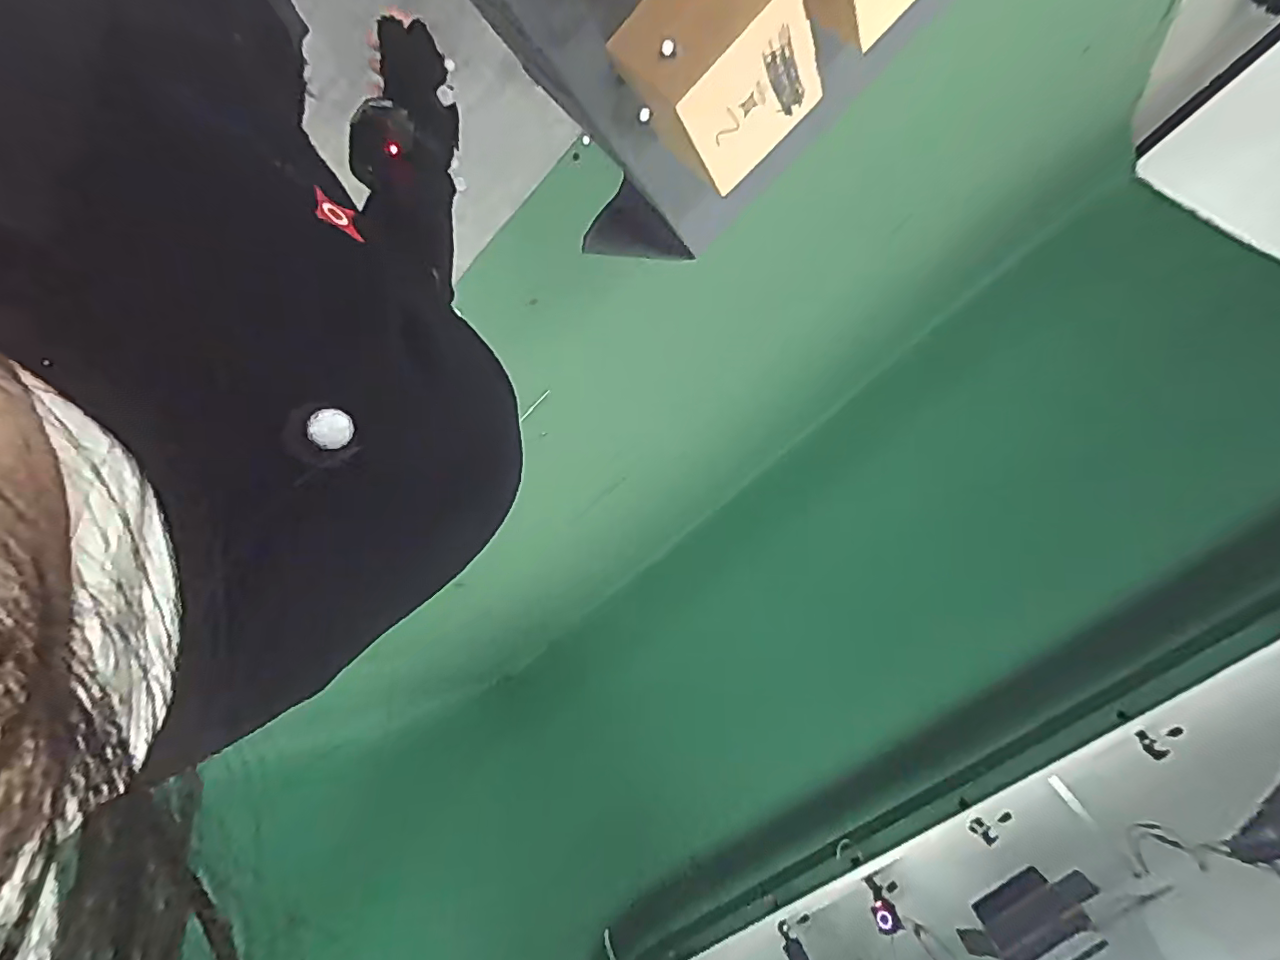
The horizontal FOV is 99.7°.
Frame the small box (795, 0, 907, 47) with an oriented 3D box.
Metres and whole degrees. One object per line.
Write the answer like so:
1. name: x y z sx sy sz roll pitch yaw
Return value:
1. small box: 0.256 -0.671 0.620 0.168 0.176 0.179 -42 153 16
